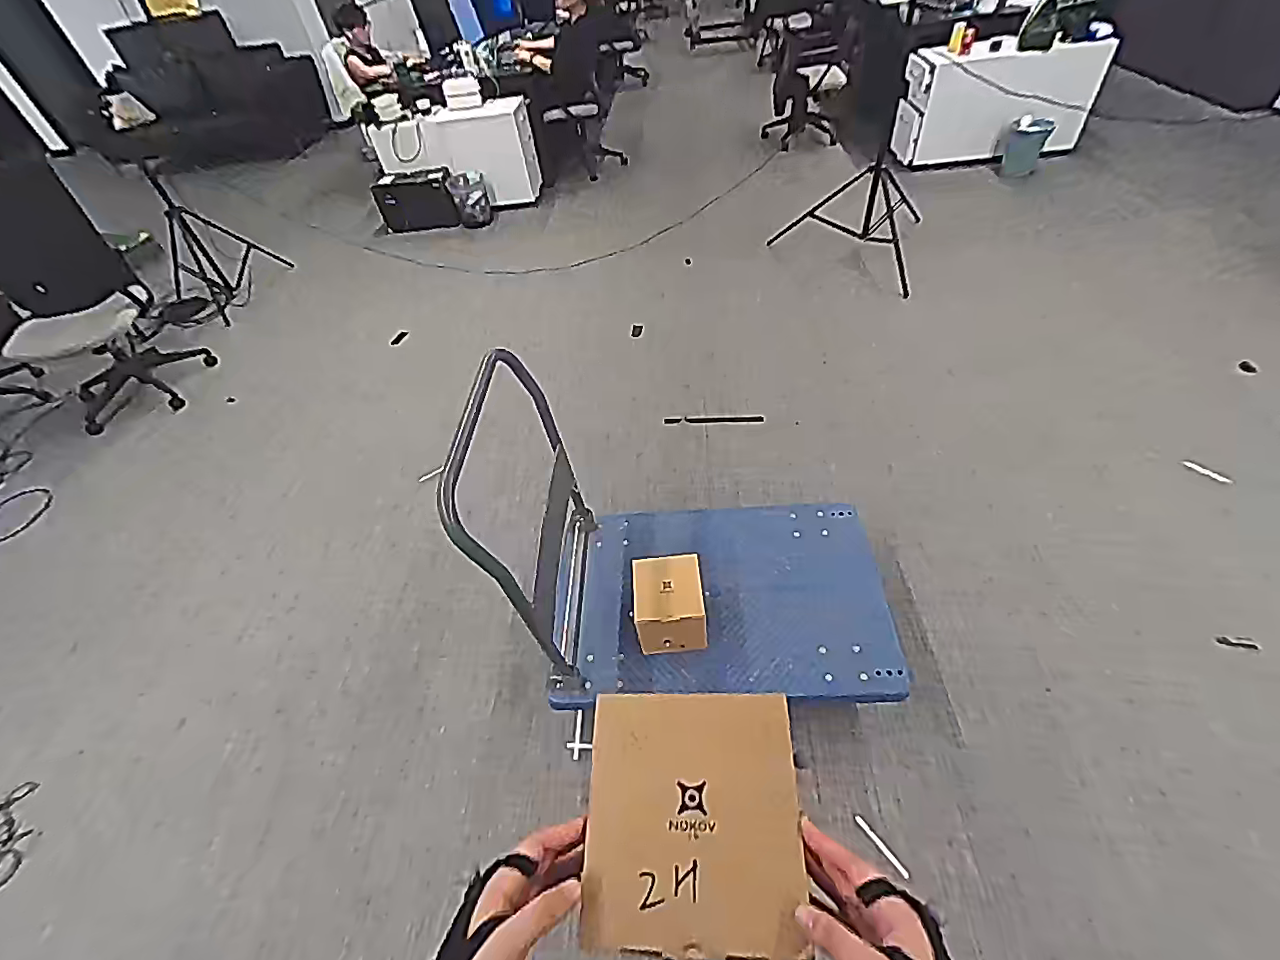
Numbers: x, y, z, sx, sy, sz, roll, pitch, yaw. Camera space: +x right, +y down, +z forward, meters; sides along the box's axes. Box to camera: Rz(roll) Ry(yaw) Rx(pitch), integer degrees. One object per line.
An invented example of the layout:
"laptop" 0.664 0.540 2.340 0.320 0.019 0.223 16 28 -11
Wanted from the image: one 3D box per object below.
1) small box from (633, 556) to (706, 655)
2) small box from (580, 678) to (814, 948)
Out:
"small box" 0.073 0.316 1.356 0.168 0.176 0.179 -6 47 3
"small box" 0.053 0.290 0.485 0.168 0.176 0.179 -4 56 9
